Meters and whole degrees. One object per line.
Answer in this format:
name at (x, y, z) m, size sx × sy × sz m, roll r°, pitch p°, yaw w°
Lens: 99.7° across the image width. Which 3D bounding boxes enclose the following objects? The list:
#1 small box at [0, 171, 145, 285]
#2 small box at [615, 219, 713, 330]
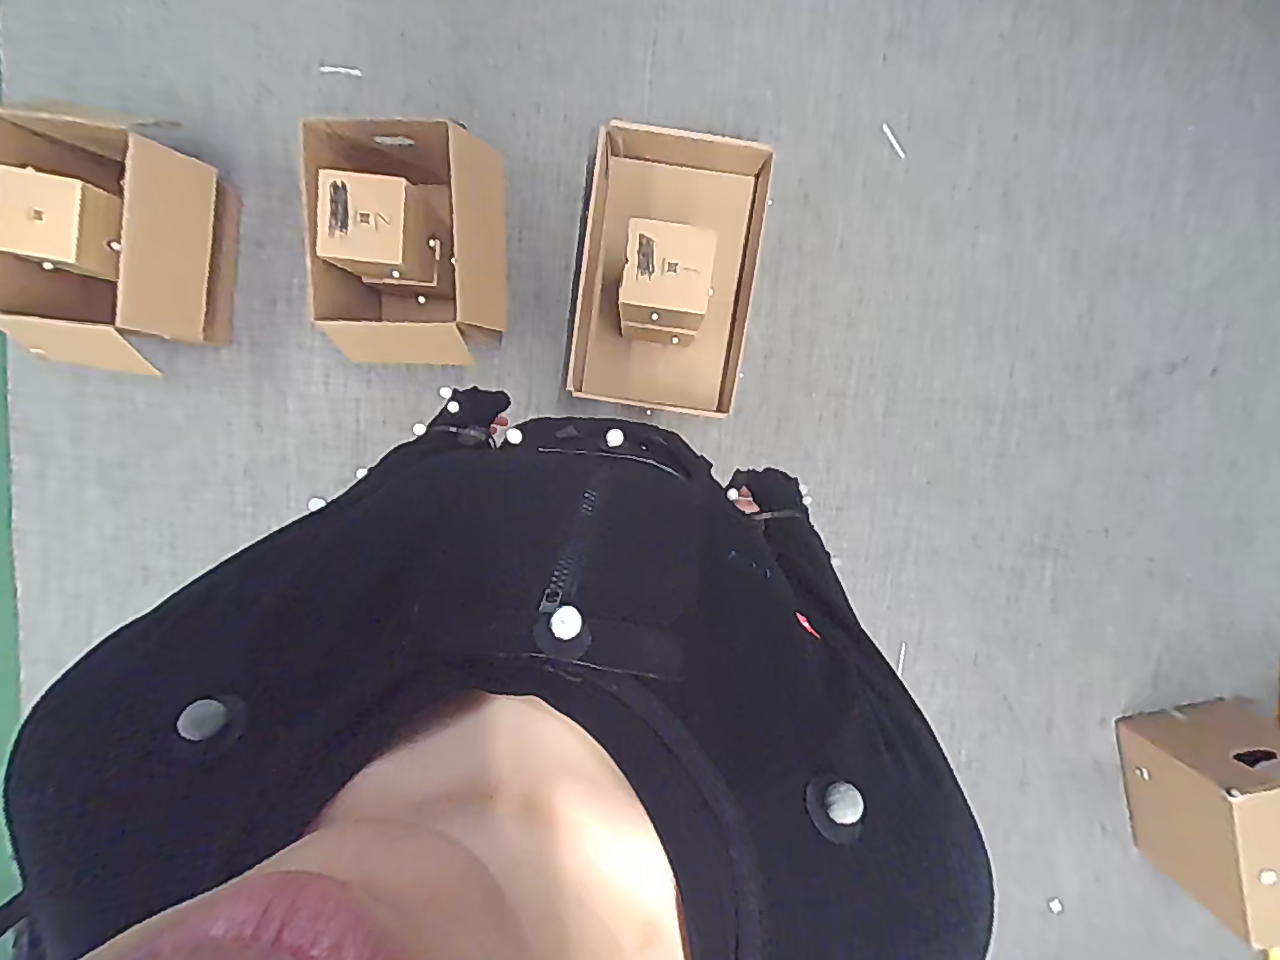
small box at (-1.219, -0.529, 1.156) m, size 0.179 × 0.176 × 0.168 m, roll 9°, pitch 95°, yaw -2°
small box at (0.045, -0.421, 1.136) m, size 0.179 × 0.176 × 0.168 m, roll 7°, pitch 94°, yaw -2°
